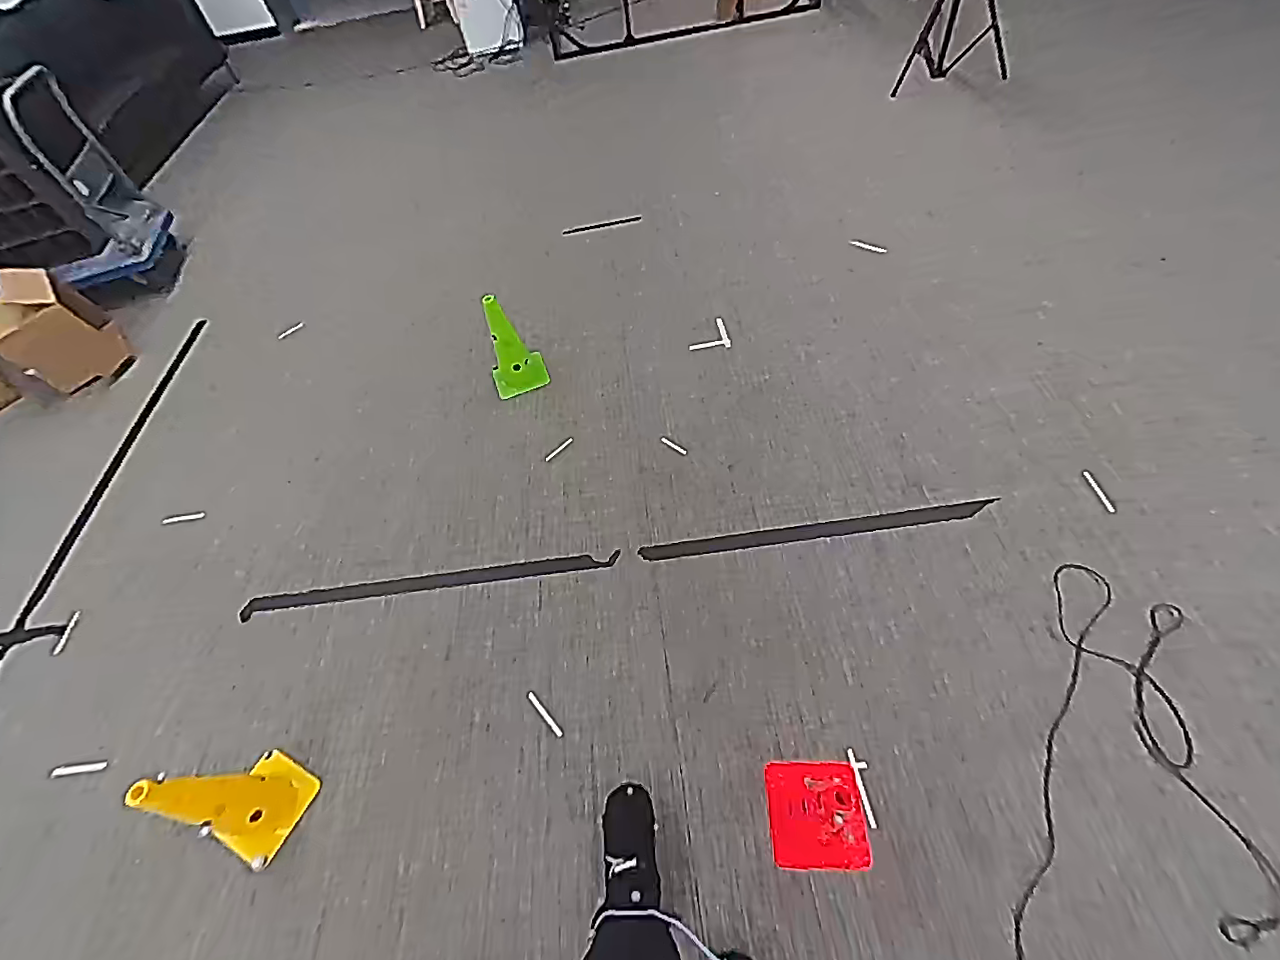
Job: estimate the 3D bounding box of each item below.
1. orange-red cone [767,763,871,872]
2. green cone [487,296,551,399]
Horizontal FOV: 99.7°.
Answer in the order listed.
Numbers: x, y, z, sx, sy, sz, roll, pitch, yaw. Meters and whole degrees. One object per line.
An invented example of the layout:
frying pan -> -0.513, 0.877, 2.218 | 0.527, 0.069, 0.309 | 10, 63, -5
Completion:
orange-red cone -> 0.353, 0.617, 1.022 | 0.199, 0.360, 0.198 | -3, 54, 9
green cone -> -0.482, -0.503, 1.970 | 0.202, 0.368, 0.200 | -21, 54, -7
